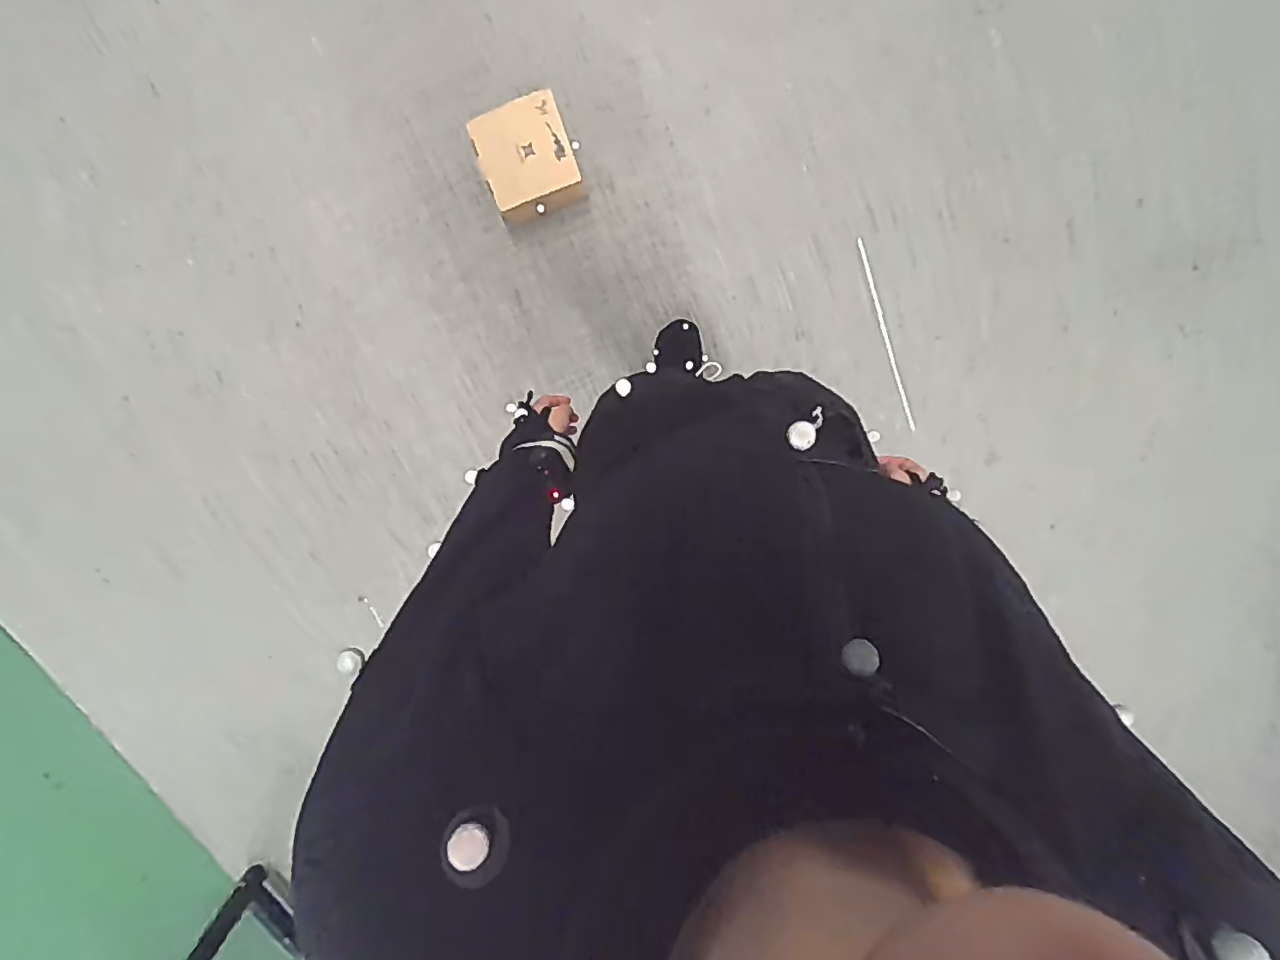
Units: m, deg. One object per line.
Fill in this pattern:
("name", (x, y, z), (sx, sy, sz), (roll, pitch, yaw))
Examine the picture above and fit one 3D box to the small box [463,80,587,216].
("small box", (-0.221, -0.653, 1.089), (0.179, 0.176, 0.168), (-18, 107, 7))
